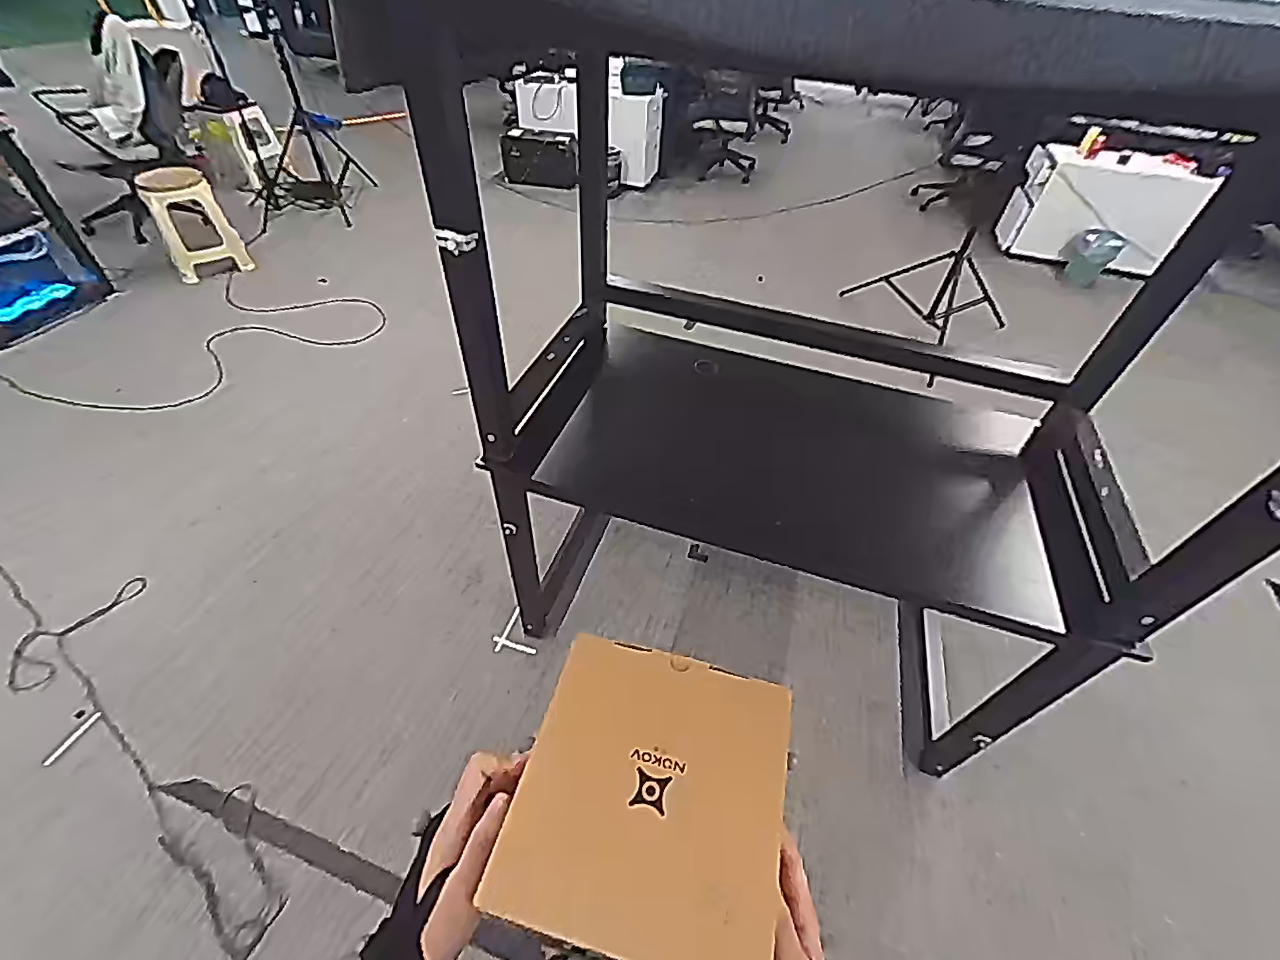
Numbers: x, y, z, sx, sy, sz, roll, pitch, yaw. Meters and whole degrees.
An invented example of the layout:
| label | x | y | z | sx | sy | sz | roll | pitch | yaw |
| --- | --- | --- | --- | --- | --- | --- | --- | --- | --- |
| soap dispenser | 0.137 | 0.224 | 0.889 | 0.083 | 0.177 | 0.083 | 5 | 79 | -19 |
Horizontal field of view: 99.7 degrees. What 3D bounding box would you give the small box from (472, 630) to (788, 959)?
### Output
| label | x | y | z | sx | sy | sz | roll | pitch | yaw |
| --- | --- | --- | --- | --- | --- | --- | --- | --- | --- |
| small box | 0.004 | 0.246 | 0.398 | 0.168 | 0.176 | 0.179 | 12 | 45 | 8 |
